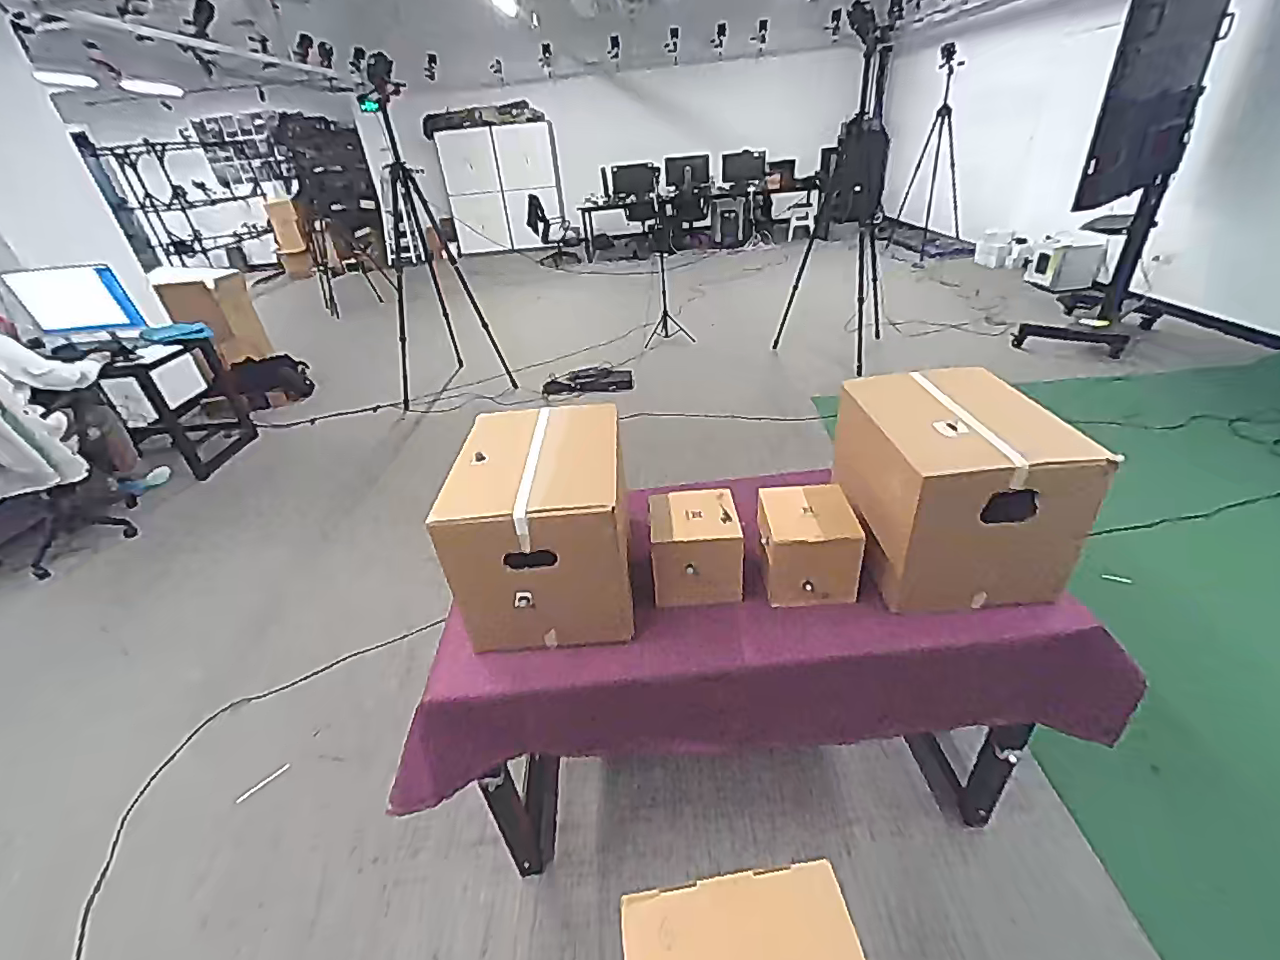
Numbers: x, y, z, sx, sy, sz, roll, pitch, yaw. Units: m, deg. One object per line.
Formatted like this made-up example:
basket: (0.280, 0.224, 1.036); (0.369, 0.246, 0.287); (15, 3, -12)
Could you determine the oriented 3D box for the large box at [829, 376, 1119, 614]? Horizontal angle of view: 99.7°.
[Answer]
large box: (0.617, 0.014, 1.108); (0.320, 0.320, 0.408); (-4, 33, 2)
